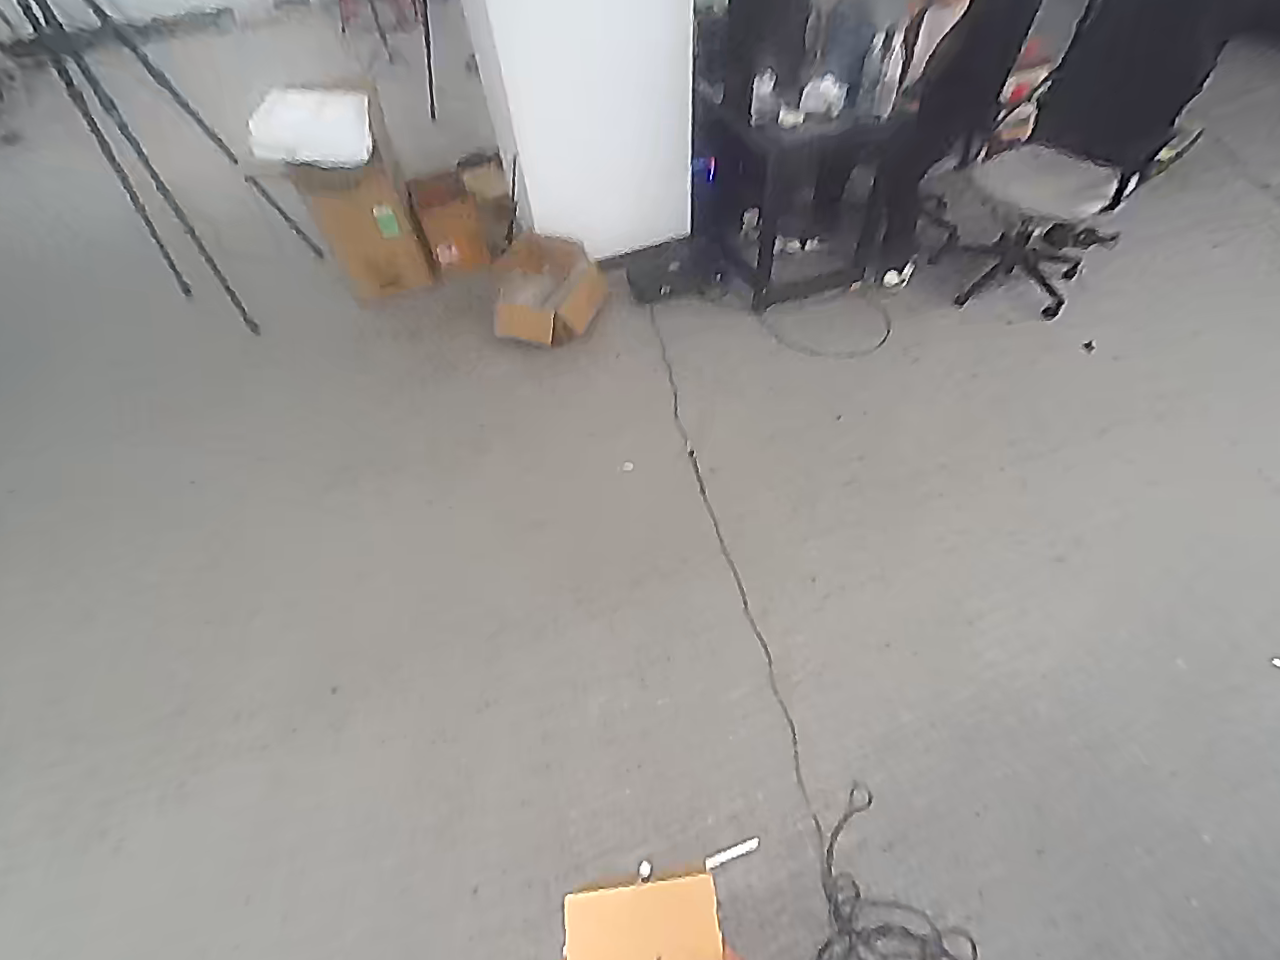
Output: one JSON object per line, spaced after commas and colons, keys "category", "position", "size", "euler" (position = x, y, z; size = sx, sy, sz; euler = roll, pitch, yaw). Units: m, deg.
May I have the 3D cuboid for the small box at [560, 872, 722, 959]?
{"category": "small box", "position": [0.006, 0.577, 0.638], "size": [0.179, 0.176, 0.168], "euler": [-6, 58, -2]}
